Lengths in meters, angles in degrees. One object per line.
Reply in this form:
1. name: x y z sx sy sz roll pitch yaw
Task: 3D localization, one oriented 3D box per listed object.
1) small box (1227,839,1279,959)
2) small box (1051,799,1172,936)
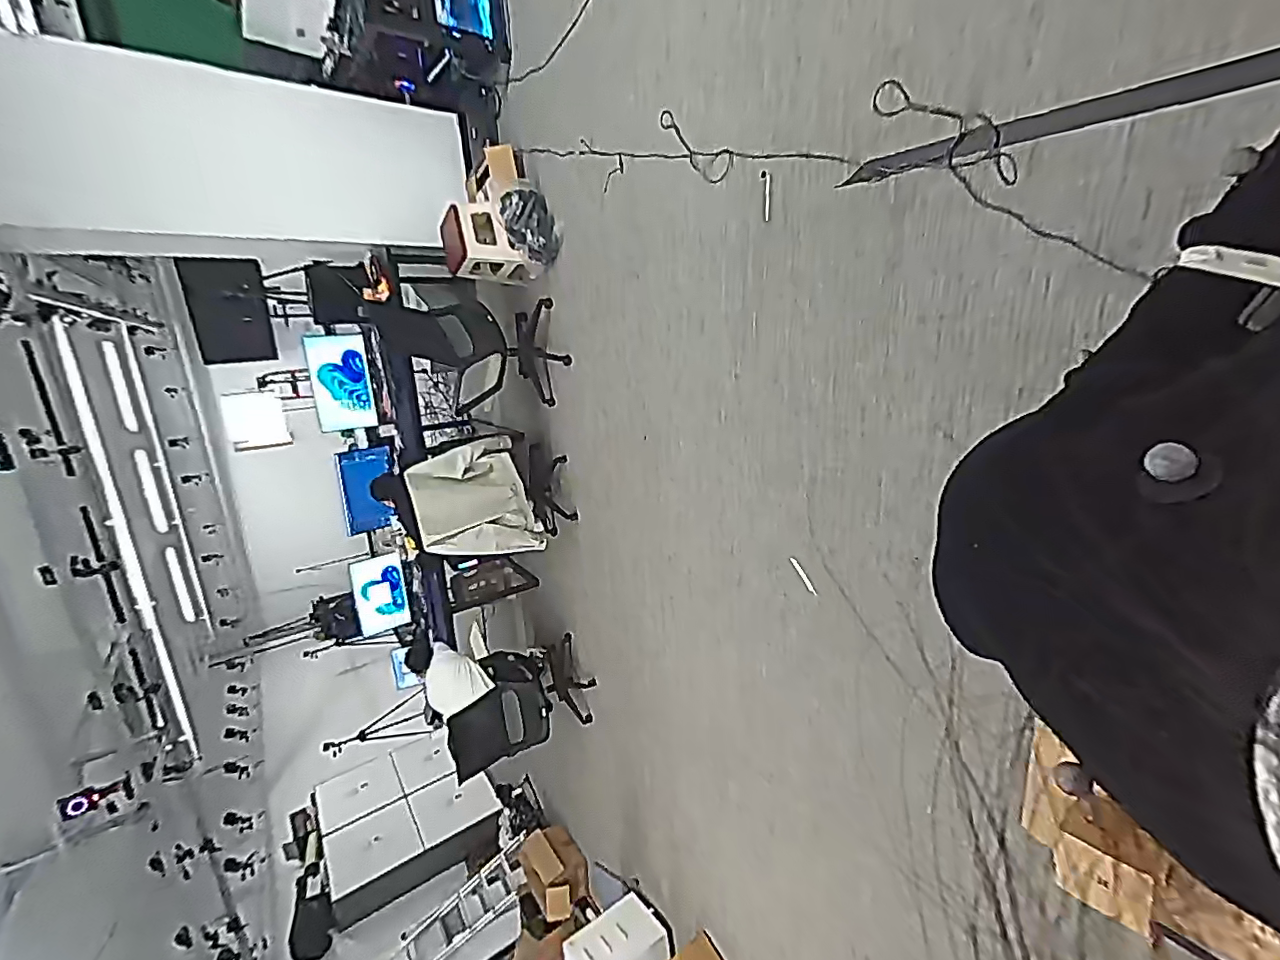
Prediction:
1. small box: 1.272 0.834 1.014 0.179 0.176 0.168 28 123 47
2. small box: 1.111 0.898 1.278 0.179 0.176 0.168 10 110 54
